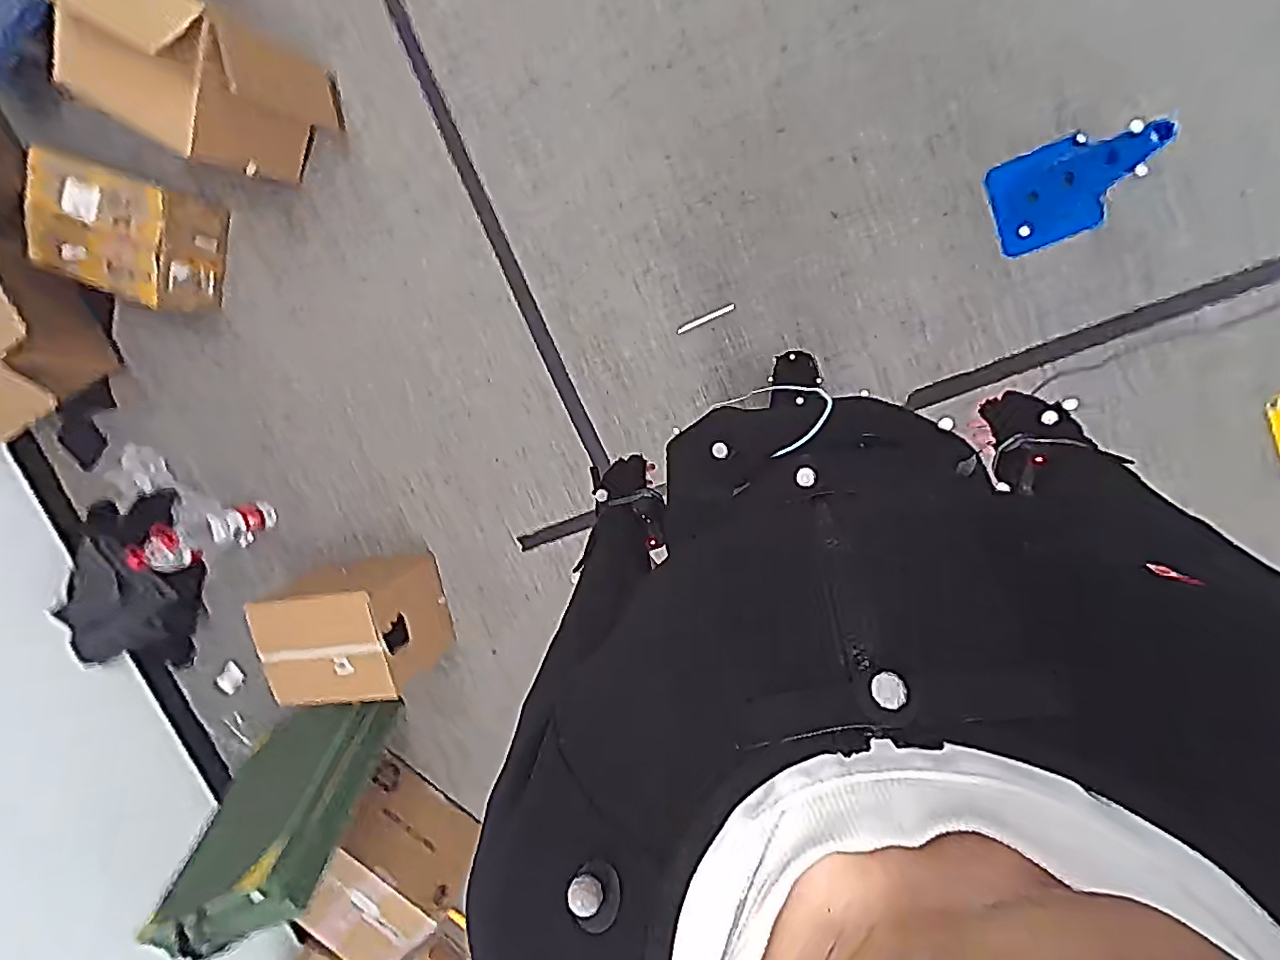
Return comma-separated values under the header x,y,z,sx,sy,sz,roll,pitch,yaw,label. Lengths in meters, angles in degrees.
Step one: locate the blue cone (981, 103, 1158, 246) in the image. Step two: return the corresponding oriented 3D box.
x,y,z,sx,sy,sz,roll,pitch,yaw,label
0.825,-0.590,1.013,0.193,0.380,0.192,-17,97,15,blue cone
